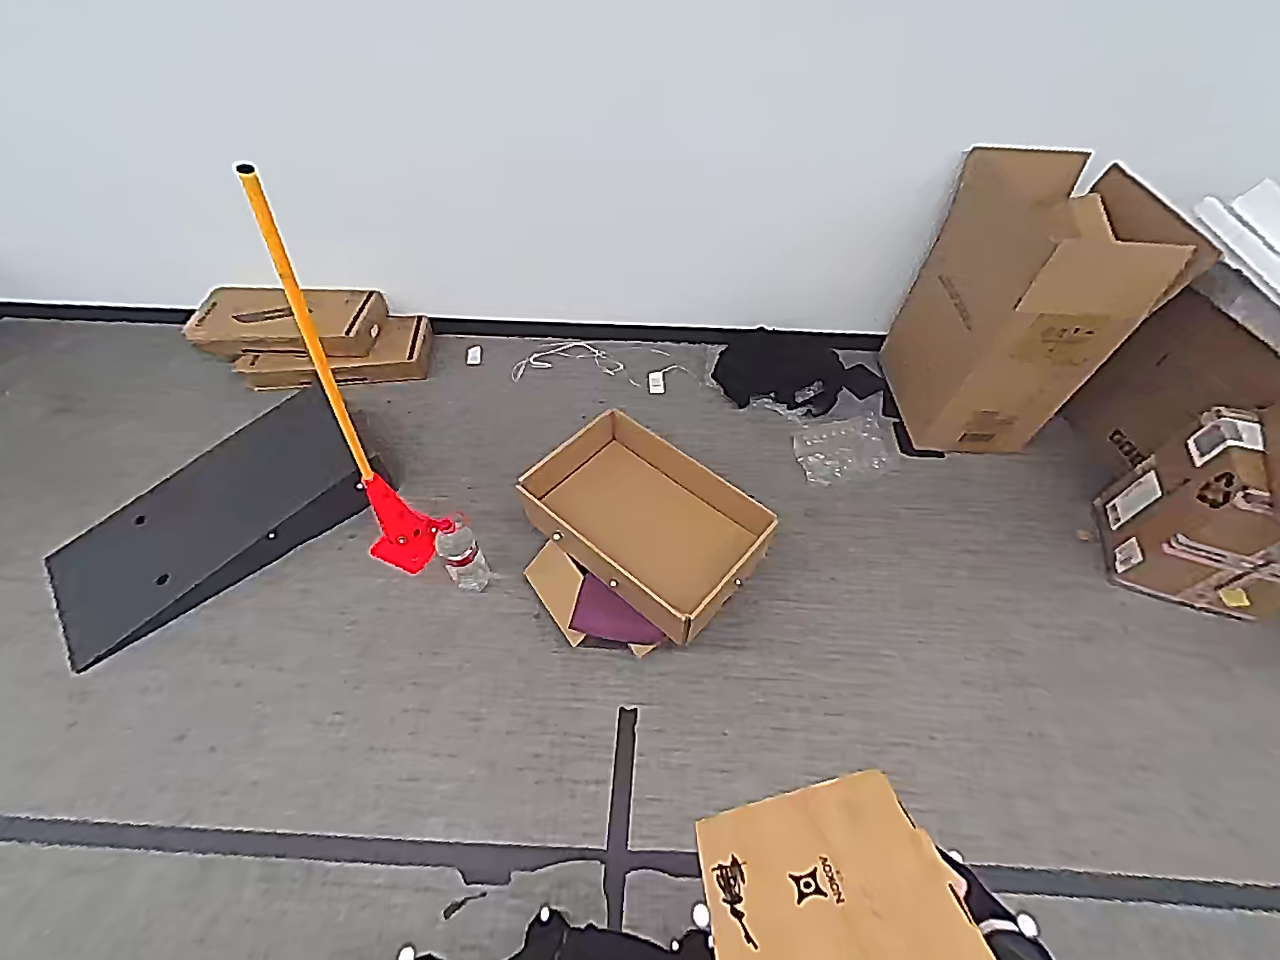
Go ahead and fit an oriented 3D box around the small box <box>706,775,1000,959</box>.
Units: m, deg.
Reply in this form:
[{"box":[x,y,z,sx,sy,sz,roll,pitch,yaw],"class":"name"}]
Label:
[{"box":[0.167,0.385,0.434,0.179,0.176,0.168,-17,13,3],"class":"small box"}]
